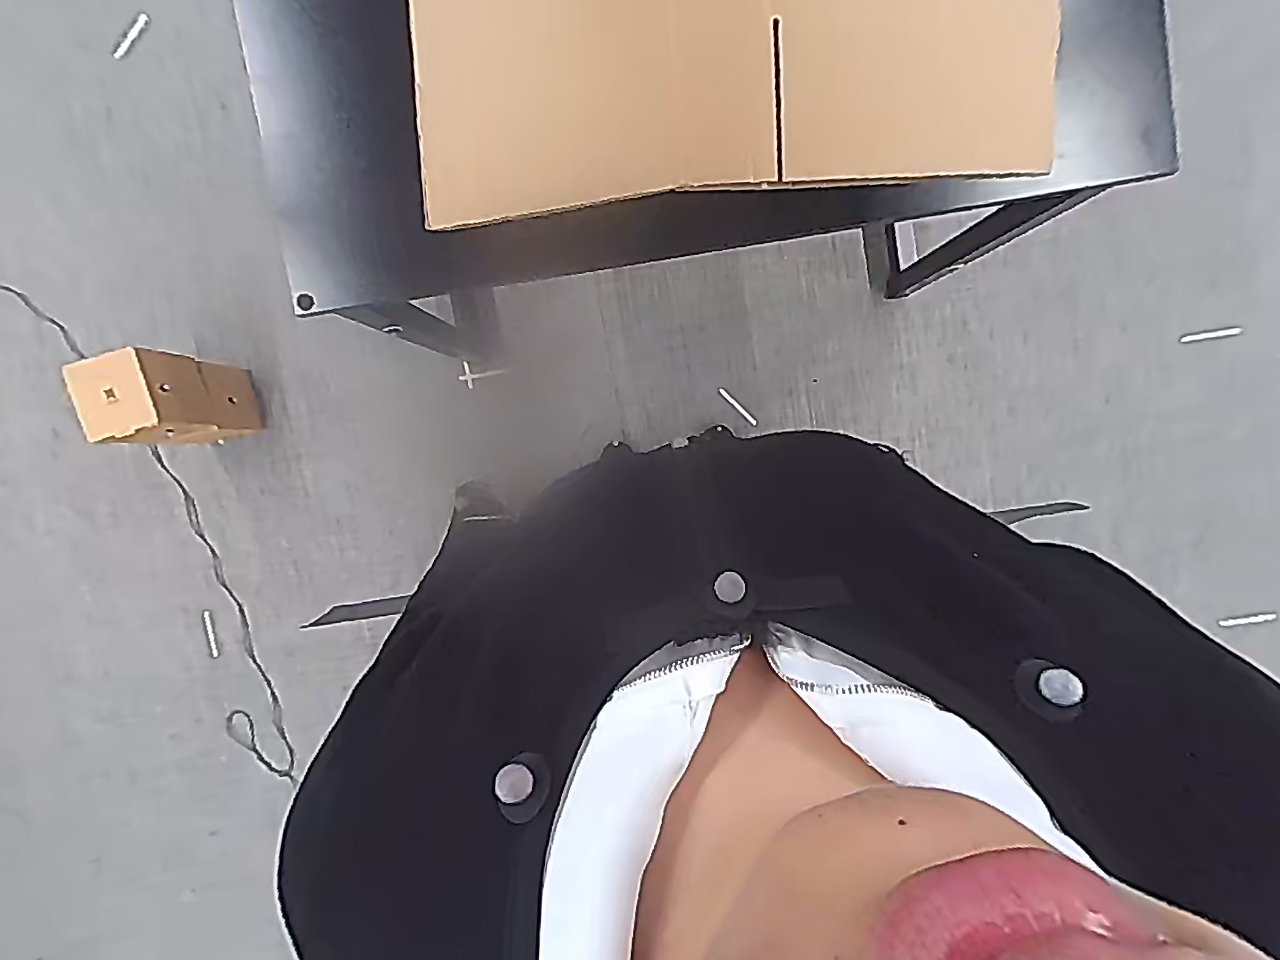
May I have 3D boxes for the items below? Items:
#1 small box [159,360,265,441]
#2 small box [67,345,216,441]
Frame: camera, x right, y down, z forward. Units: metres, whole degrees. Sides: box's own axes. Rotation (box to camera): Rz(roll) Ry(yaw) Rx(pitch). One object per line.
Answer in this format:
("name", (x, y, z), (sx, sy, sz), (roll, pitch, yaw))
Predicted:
("small box", (-1.132, -0.202, 1.412), (0.168, 0.176, 0.179), (-12, 95, 2))
("small box", (-1.136, -0.194, 1.250), (0.168, 0.176, 0.179), (-16, 93, 1))
